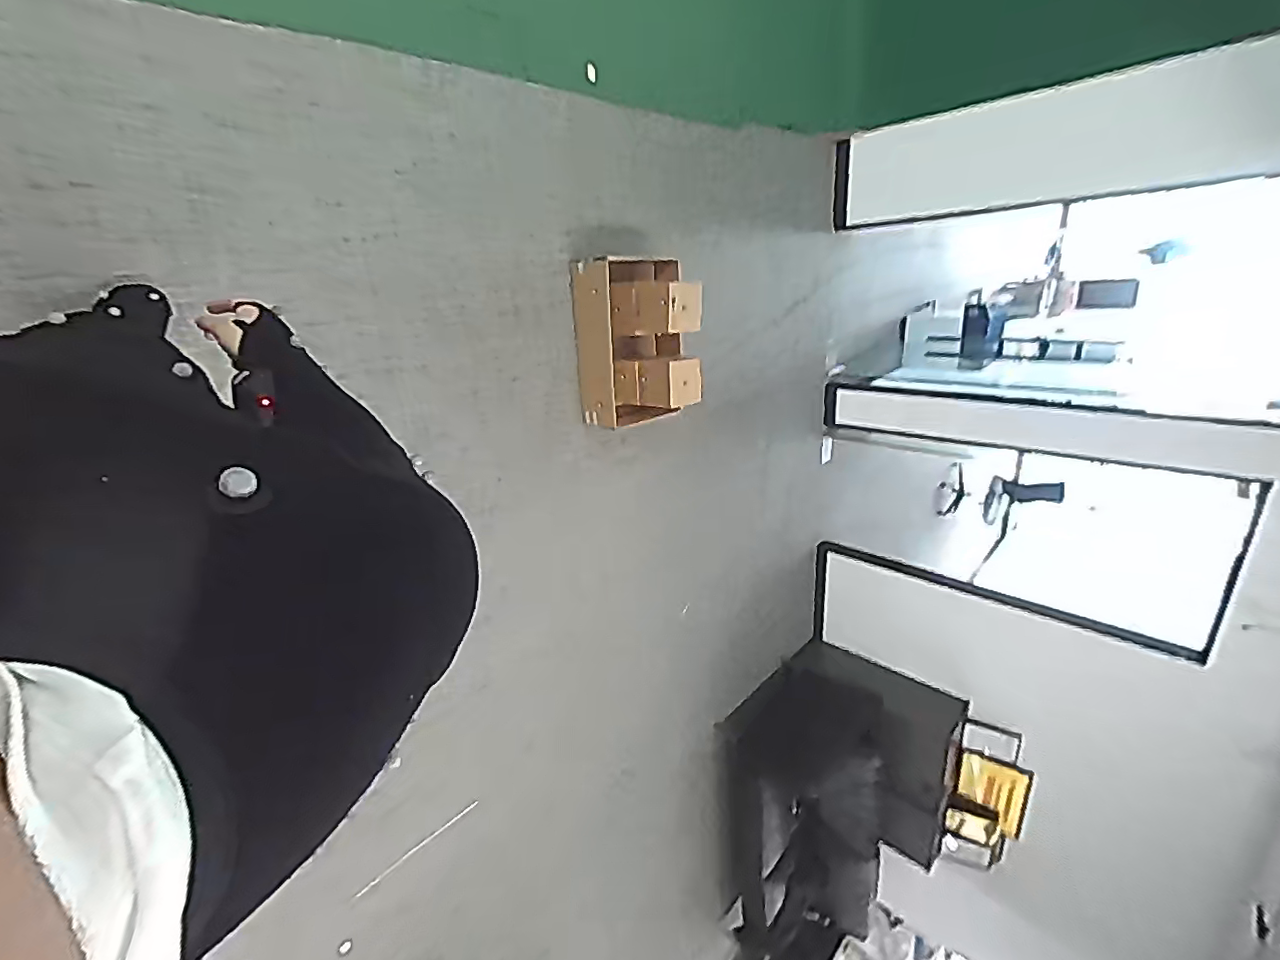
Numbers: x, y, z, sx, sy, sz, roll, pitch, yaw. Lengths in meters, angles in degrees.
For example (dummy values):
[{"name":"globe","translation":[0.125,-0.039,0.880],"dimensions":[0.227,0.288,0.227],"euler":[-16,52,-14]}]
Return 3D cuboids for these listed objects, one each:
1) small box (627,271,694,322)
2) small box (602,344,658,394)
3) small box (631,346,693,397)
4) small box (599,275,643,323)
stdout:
[{"name":"small box","translation":[0.074,-0.657,1.941],"dimensions":[0.179,0.176,0.168],"euler":[-18,115,-44]},{"name":"small box","translation":[-0.036,-0.444,2.143],"dimensions":[0.179,0.176,0.168],"euler":[-23,118,-41]},{"name":"small box","translation":[0.084,-0.413,2.036],"dimensions":[0.179,0.176,0.168],"euler":[-20,115,-42]},{"name":"small box","translation":[-0.045,-0.689,2.050],"dimensions":[0.179,0.176,0.168],"euler":[-23,121,-41]}]
